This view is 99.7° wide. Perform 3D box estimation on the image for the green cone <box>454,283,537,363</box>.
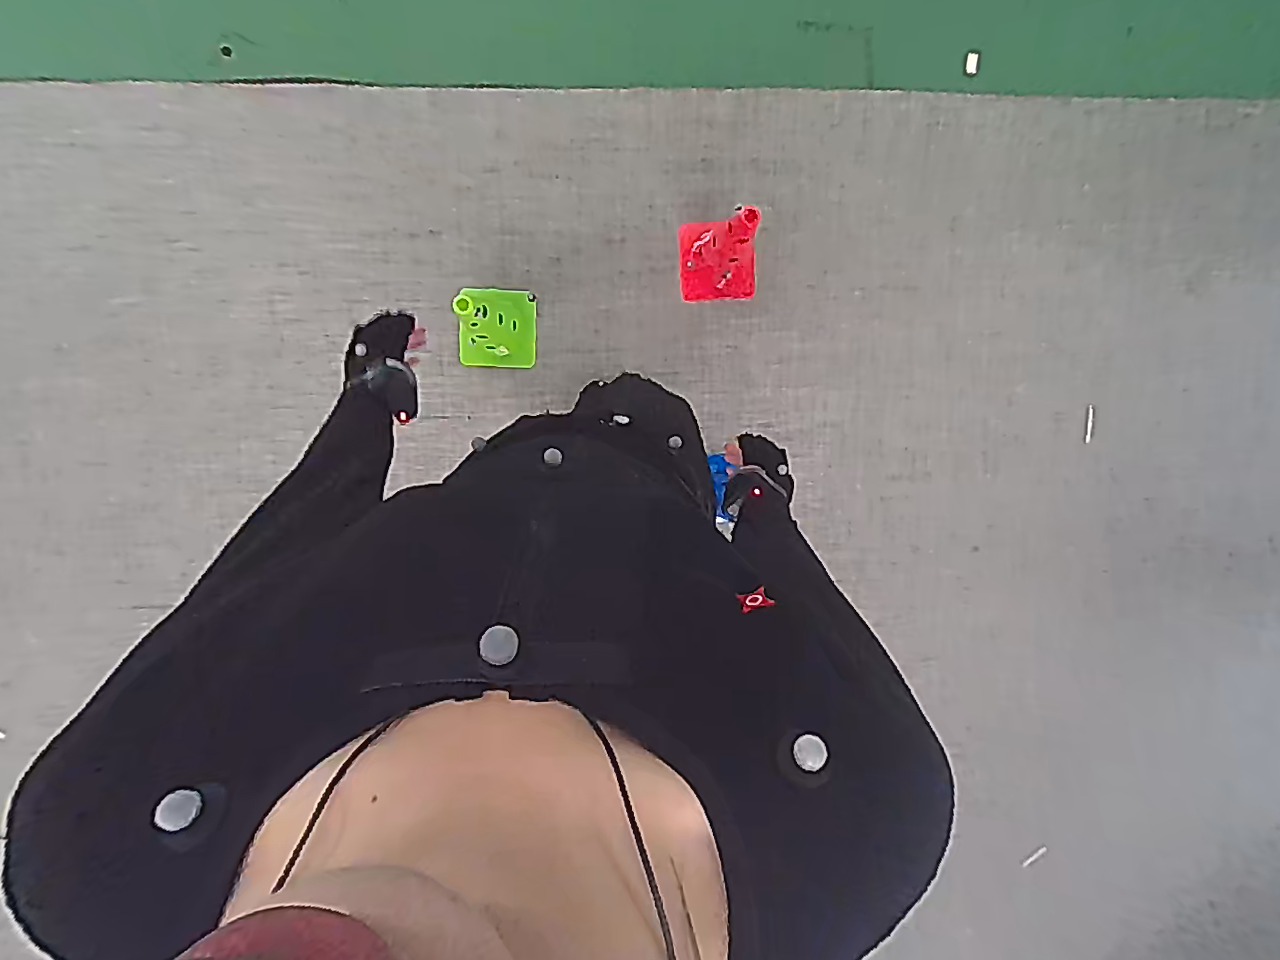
[{"bbox_3d":[-0.364,-0.384,1.255,0.200,0.368,0.202,1,99,-3],"label":"green cone"}]
